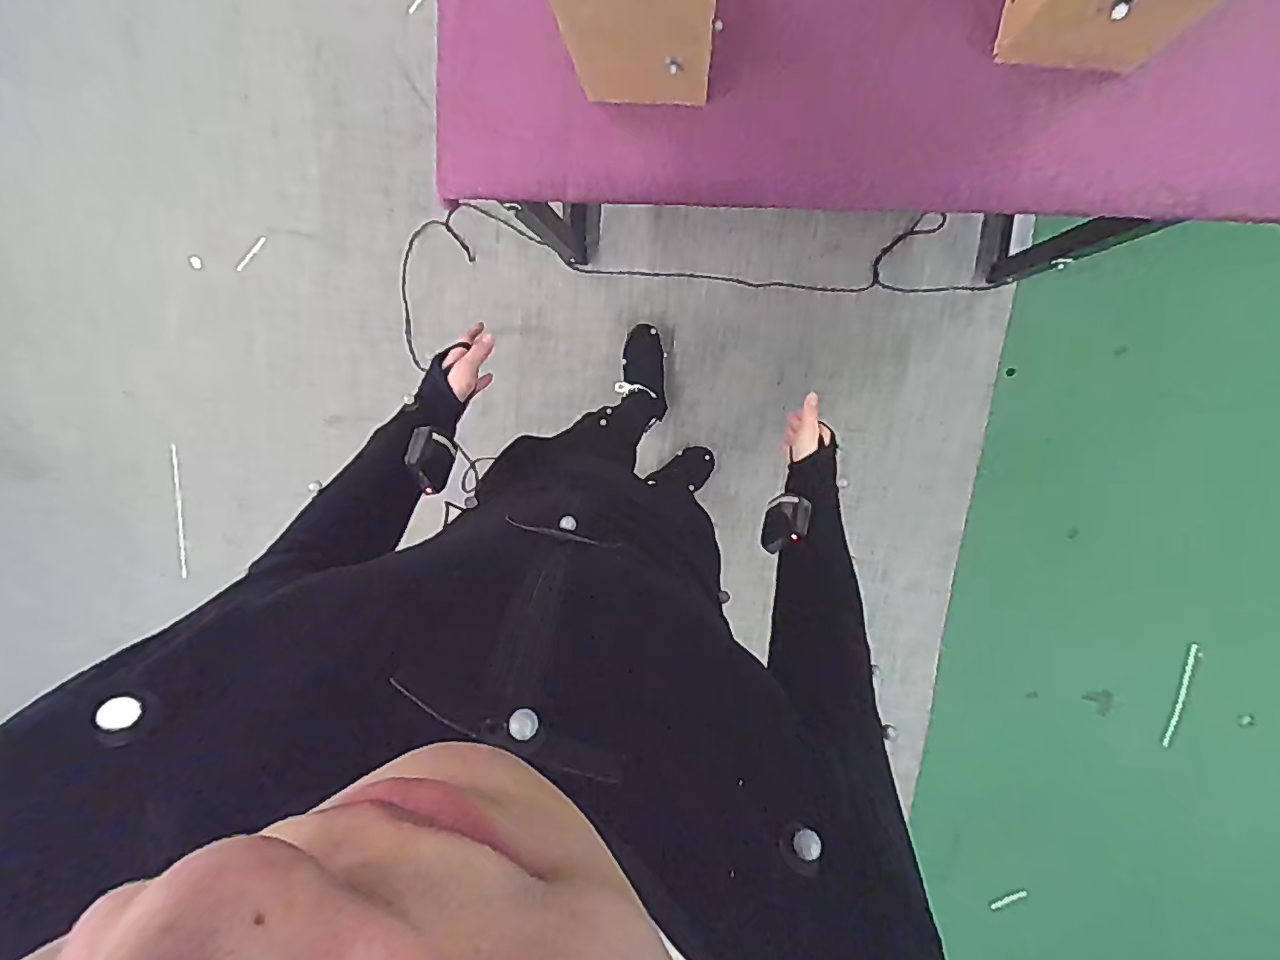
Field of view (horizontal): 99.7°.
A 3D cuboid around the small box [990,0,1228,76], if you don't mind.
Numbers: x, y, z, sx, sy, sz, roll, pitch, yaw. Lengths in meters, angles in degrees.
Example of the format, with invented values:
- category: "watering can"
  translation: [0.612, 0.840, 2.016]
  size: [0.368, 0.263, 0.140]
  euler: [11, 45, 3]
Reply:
- category: "small box"
  translation: [0.563, -0.615, 0.638]
  size: [0.179, 0.176, 0.168]
  euler: [10, 101, 6]

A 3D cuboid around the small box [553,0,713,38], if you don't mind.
- category: "small box"
  translation: [-0.005, -0.581, 0.537]
  size: [0.179, 0.176, 0.168]
  euler: [5, 100, 6]
